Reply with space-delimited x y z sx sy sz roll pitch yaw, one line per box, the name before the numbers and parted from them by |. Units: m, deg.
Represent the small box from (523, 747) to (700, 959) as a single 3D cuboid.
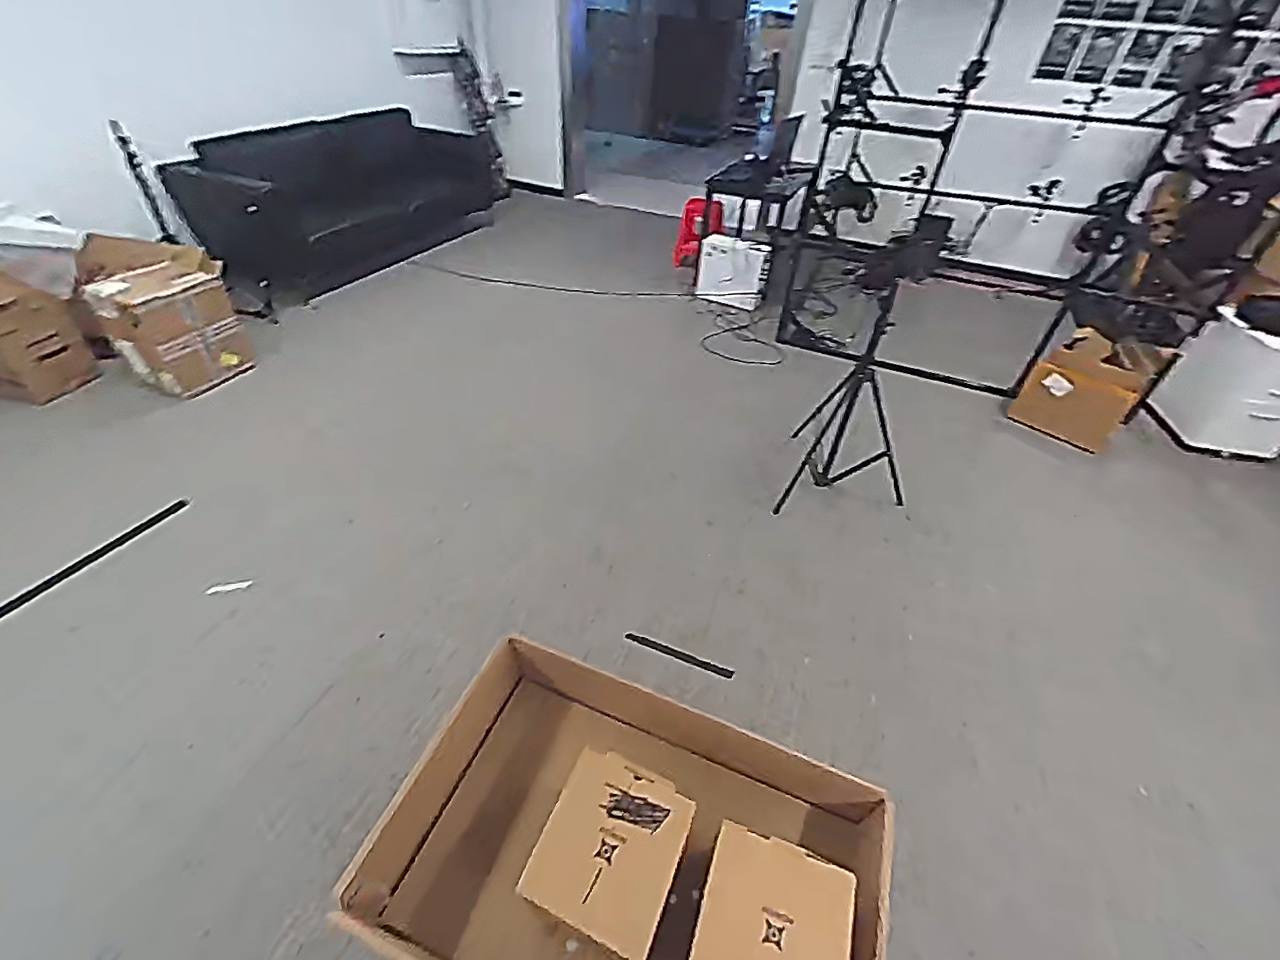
small box | -0.033 0.499 0.716 0.168 0.176 0.179 18 48 16
